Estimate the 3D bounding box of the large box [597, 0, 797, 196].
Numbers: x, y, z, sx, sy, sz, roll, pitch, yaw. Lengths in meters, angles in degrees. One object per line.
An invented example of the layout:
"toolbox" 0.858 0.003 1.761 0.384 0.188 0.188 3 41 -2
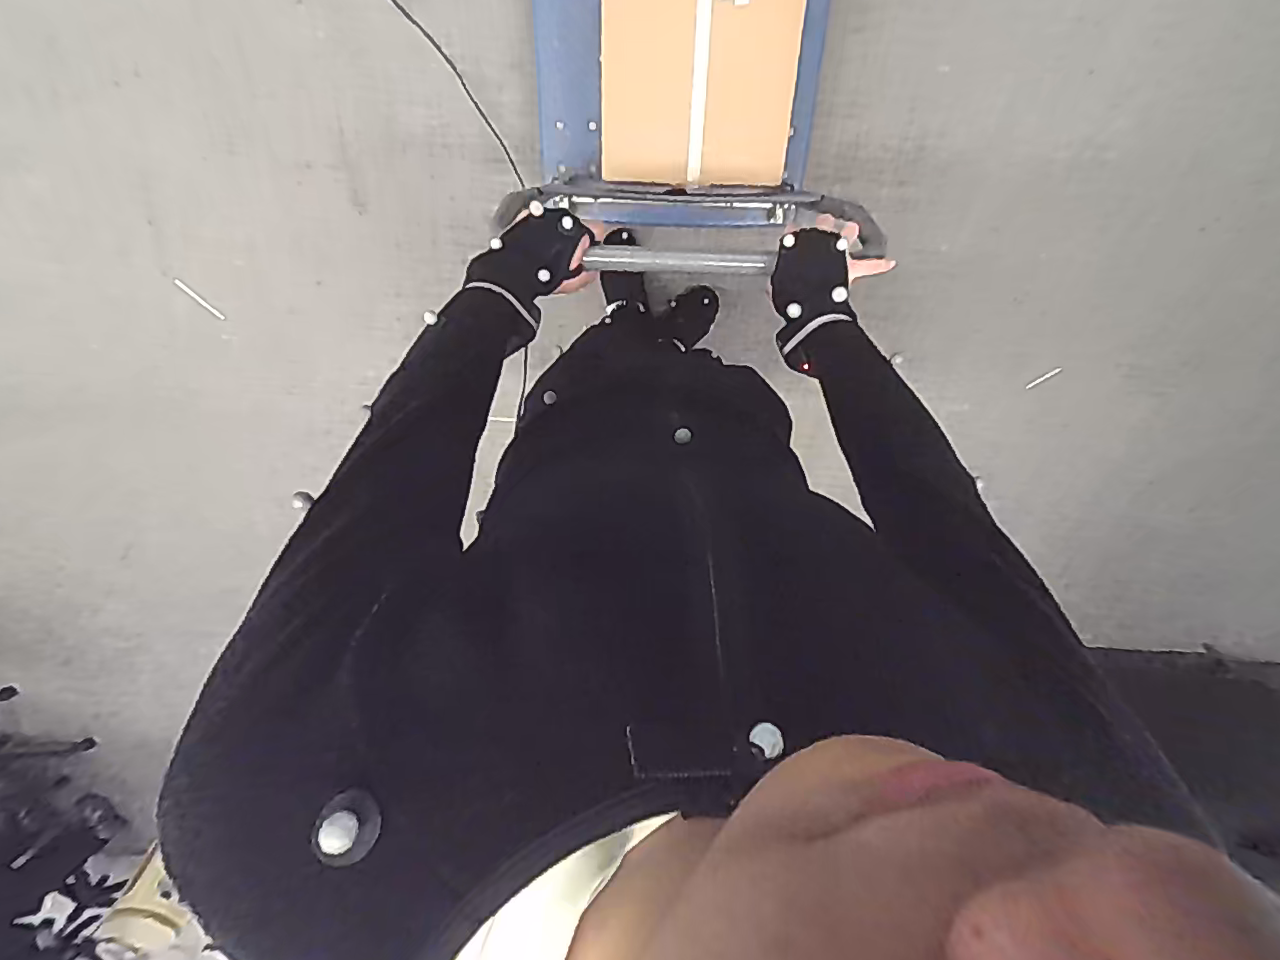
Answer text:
"large box" 0.092 -0.753 0.990 0.320 0.320 0.408 1 116 0
